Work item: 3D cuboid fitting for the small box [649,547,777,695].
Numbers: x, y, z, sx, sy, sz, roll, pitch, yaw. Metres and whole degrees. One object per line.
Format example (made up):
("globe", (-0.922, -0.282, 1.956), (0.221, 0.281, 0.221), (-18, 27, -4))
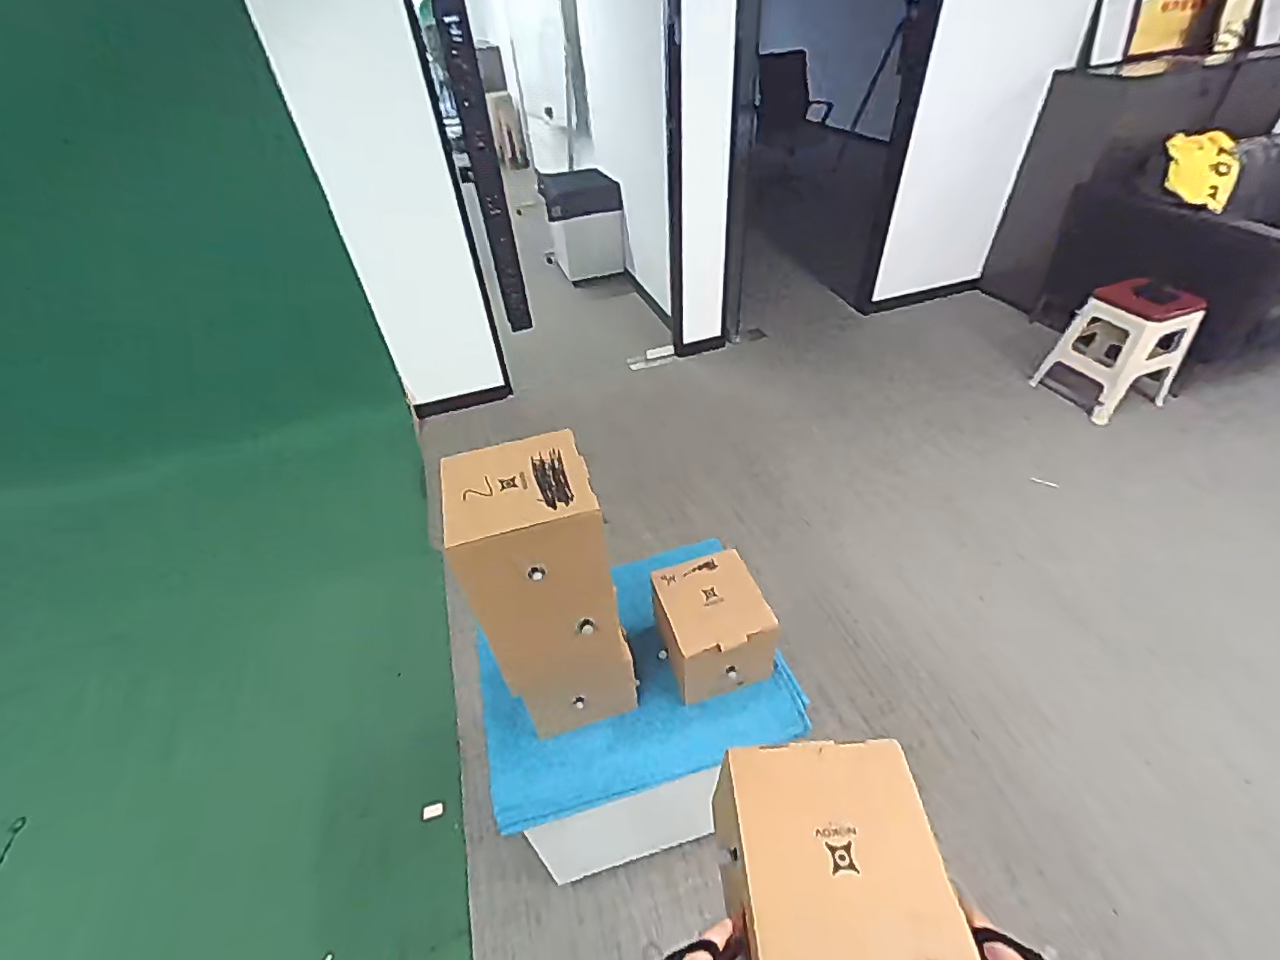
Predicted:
("small box", (0.122, 0.253, 0.948), (0.168, 0.176, 0.179), (-14, 43, -10))

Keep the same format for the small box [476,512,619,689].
("small box", (-0.133, 0.179, 0.806), (0.179, 0.176, 0.168), (-14, 42, -11))

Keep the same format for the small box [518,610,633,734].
("small box", (-0.114, 0.298, 0.918), (0.179, 0.176, 0.168), (-14, 42, -10))

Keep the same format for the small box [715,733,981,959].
("small box", (0.166, 0.360, 0.500), (0.168, 0.176, 0.179), (-3, 42, -2))
